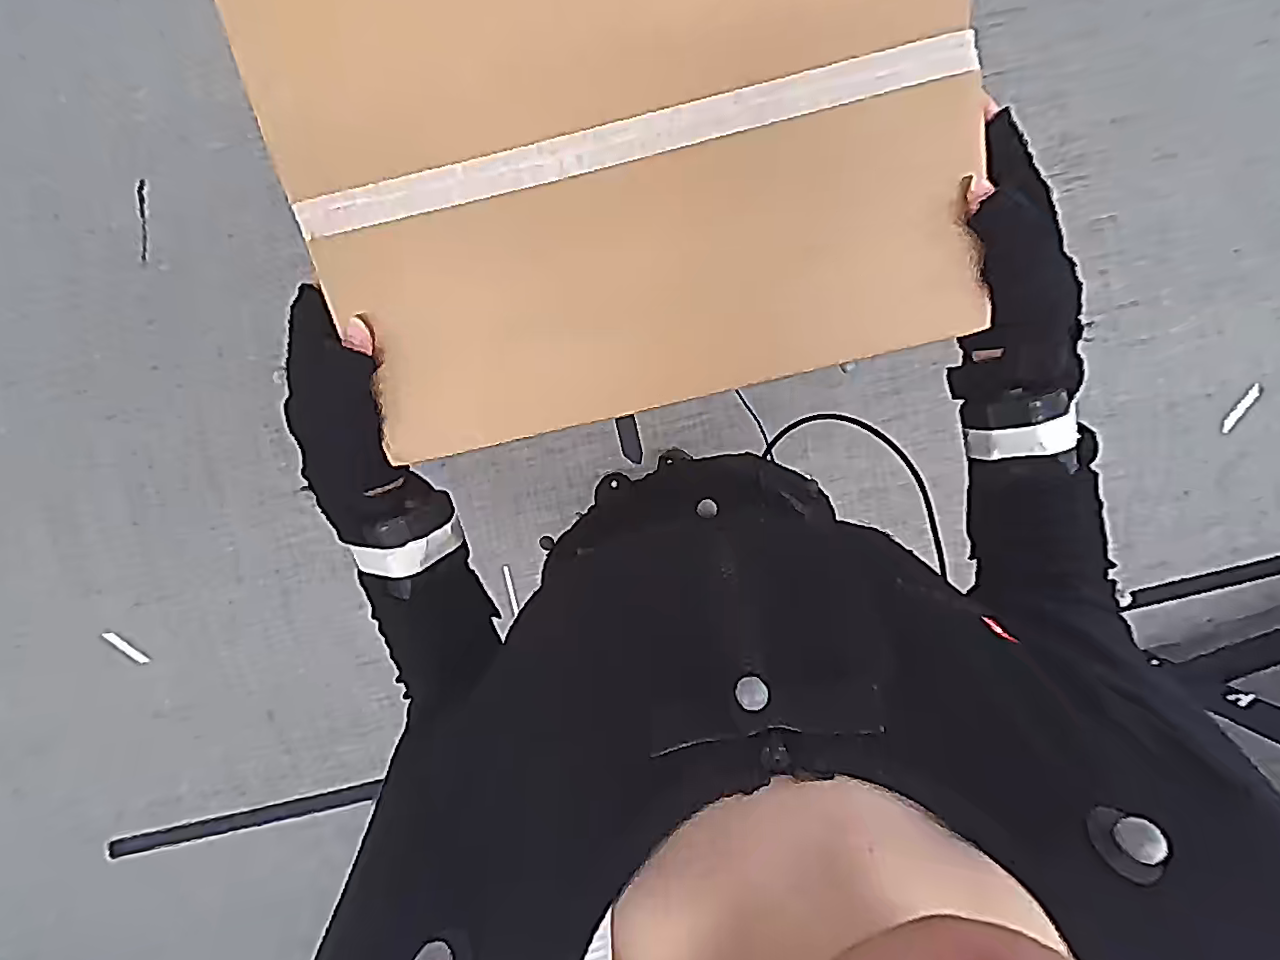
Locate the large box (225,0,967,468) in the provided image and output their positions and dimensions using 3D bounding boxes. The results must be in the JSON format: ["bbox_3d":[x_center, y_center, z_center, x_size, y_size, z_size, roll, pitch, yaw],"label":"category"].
[{"bbox_3d":[-0.011,-0.238,0.470,0.408,0.320,0.320,-13,105,2],"label":"large box"}]
